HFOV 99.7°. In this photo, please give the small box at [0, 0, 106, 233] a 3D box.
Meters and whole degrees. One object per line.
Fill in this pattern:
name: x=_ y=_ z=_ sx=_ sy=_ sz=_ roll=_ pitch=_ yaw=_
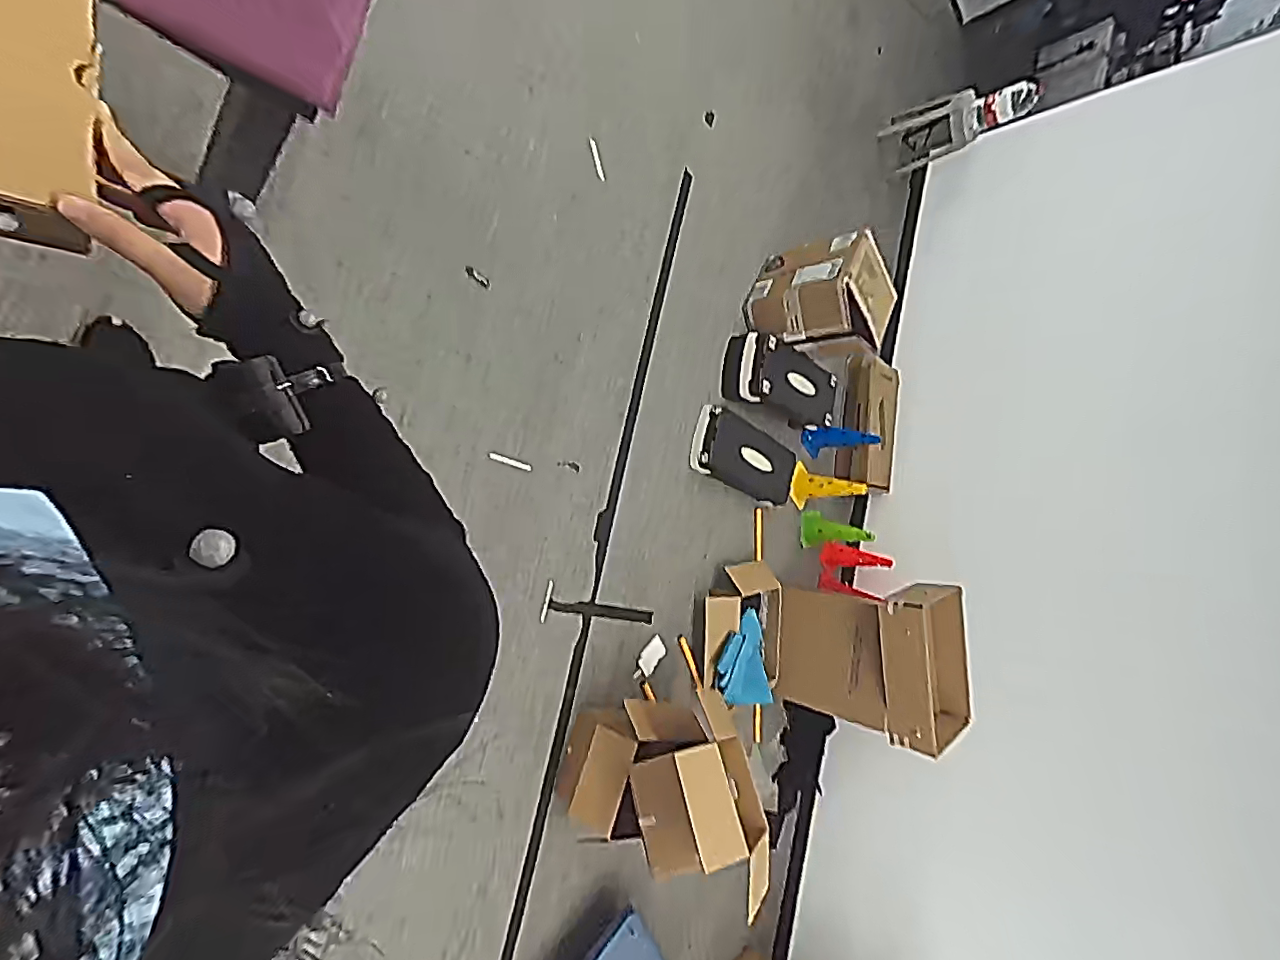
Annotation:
small box: x=-0.444 y=-0.265 z=0.322 sx=0.179 sy=0.176 sz=0.168 roll=-1 pitch=99 yaw=-47
